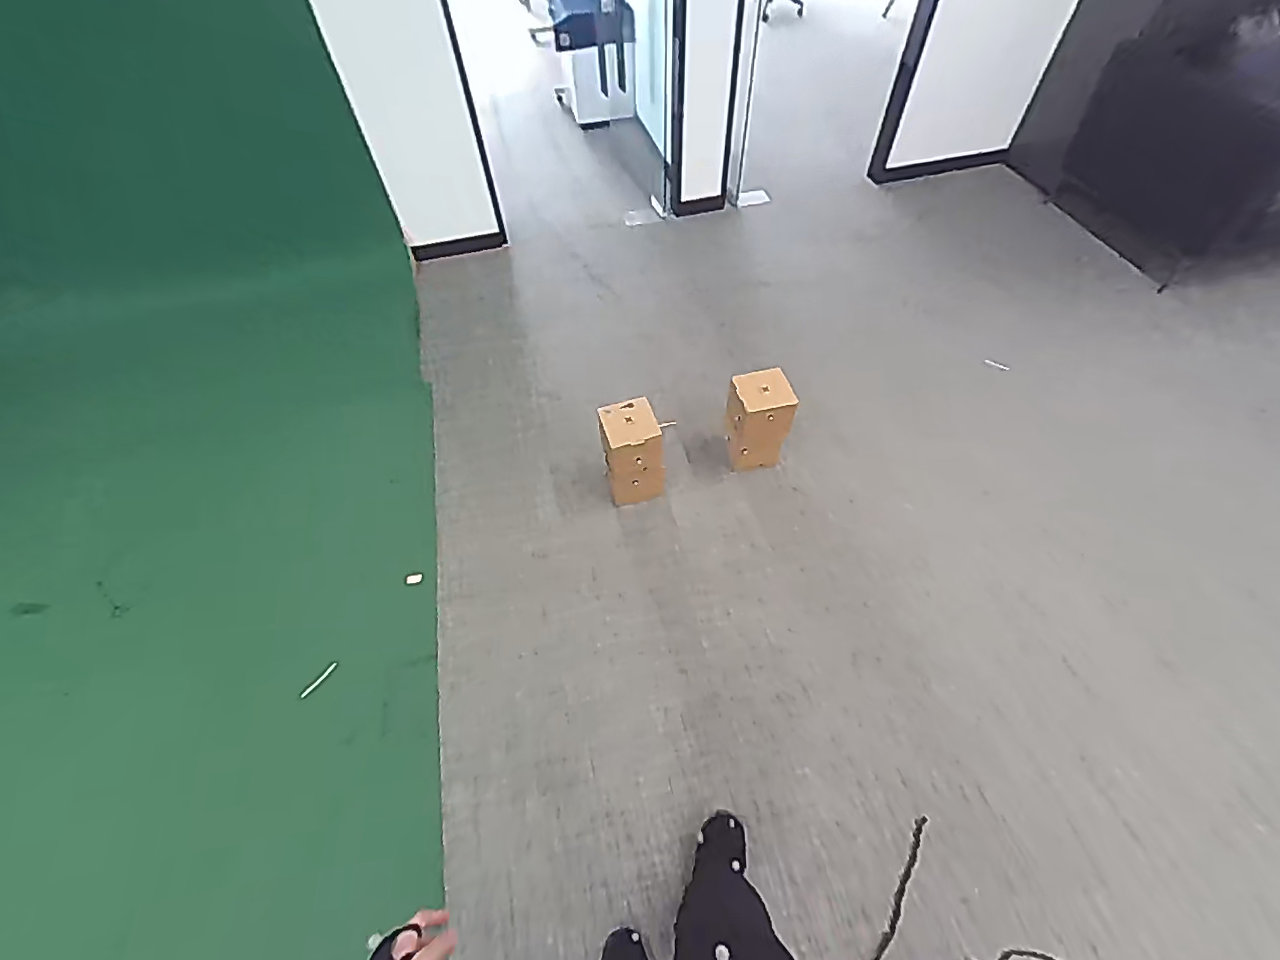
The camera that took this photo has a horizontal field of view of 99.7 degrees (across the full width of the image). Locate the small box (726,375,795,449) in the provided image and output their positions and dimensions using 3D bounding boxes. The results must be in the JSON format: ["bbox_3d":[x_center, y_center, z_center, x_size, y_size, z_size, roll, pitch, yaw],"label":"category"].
[{"bbox_3d":[0.395,-0.224,1.816,0.179,0.176,0.168,-11,55,-7],"label":"small box"}]

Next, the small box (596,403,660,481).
[{"bbox_3d":[-0.037,-0.115,1.750,0.168,0.176,0.179,-15,55,-10],"label":"small box"}]

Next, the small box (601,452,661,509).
[{"bbox_3d":[-0.030,-0.018,1.882,0.179,0.176,0.168,-12,55,-8],"label":"small box"}]
